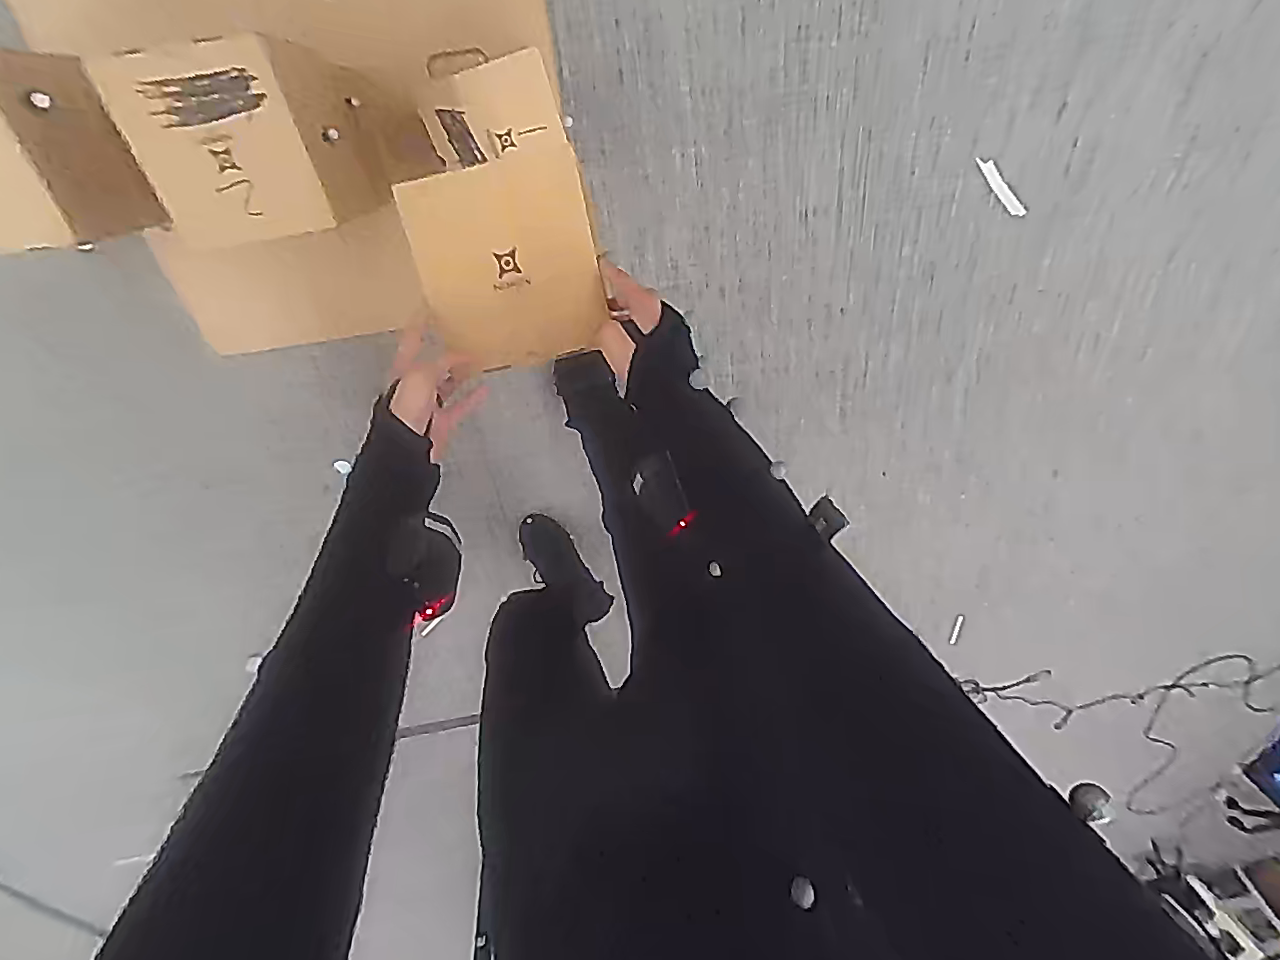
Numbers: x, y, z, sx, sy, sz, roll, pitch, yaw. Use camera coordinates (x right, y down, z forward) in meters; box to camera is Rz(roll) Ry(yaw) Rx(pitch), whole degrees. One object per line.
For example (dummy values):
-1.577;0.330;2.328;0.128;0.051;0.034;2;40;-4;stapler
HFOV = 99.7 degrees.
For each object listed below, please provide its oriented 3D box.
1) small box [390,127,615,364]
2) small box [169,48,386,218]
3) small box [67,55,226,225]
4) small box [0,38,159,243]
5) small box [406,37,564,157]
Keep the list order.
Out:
-0.125;-0.230;0.565;0.168;0.176;0.179;-12;108;2;small box
-0.476;-0.473;0.746;0.168;0.176;0.179;-7;125;-5;small box
-0.704;-0.450;0.724;0.168;0.176;0.179;-7;125;-3;small box
-0.693;-0.363;0.584;0.168;0.176;0.179;-7;125;-4;small box
-0.199;-0.498;0.774;0.179;0.176;0.168;-17;125;2;small box
